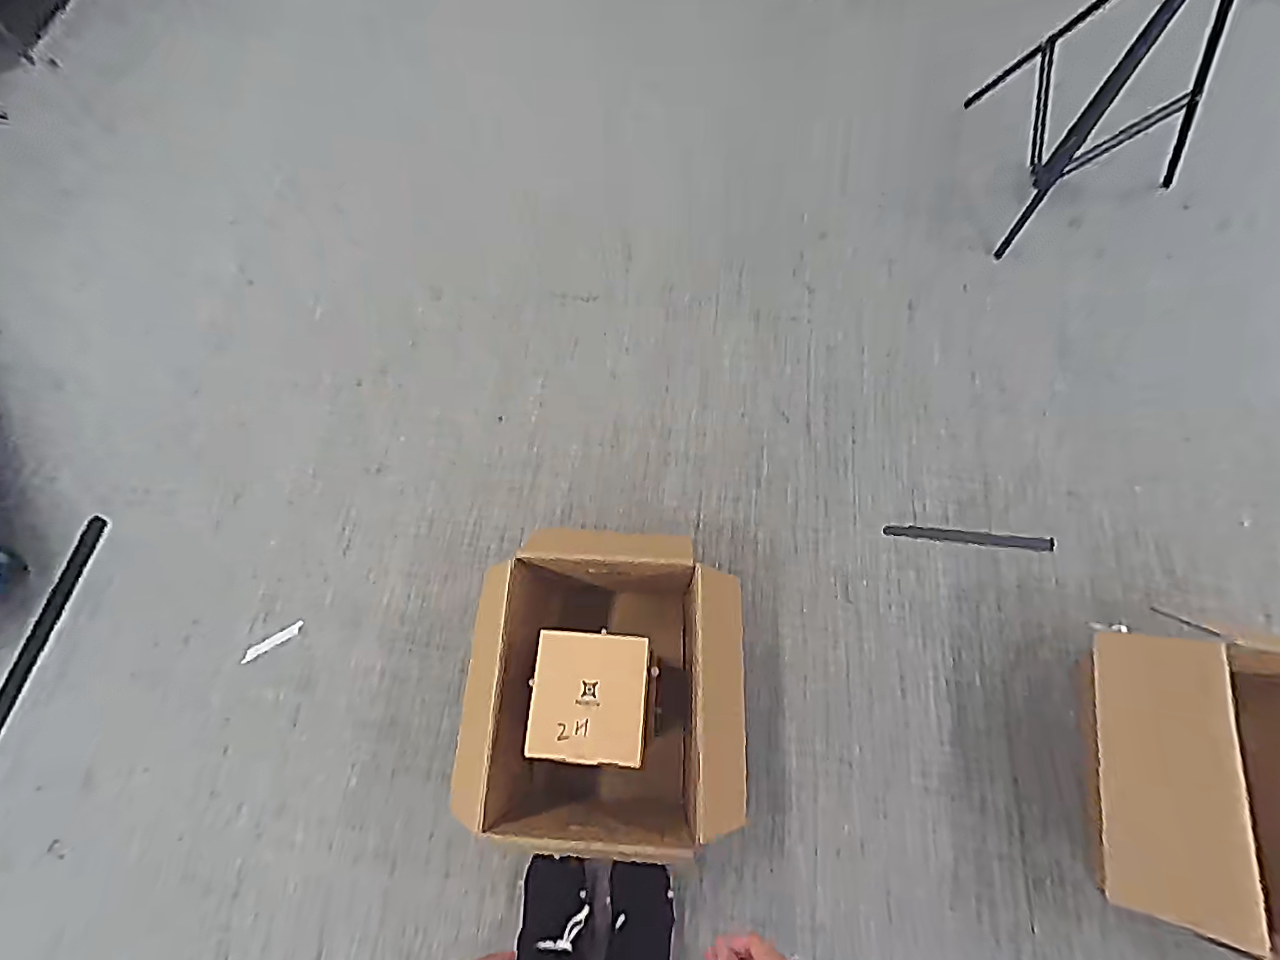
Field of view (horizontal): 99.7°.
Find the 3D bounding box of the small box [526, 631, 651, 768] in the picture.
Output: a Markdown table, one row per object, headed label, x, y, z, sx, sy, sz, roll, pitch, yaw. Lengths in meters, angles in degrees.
| label | x | y | z | sx | sy | sz | roll | pitch | yaw |
| --- | --- | --- | --- | --- | --- | --- | --- | --- | --- |
| small box | -0.070 | 0.343 | 0.858 | 0.168 | 0.176 | 0.179 | 3 | 69 | 4 |
